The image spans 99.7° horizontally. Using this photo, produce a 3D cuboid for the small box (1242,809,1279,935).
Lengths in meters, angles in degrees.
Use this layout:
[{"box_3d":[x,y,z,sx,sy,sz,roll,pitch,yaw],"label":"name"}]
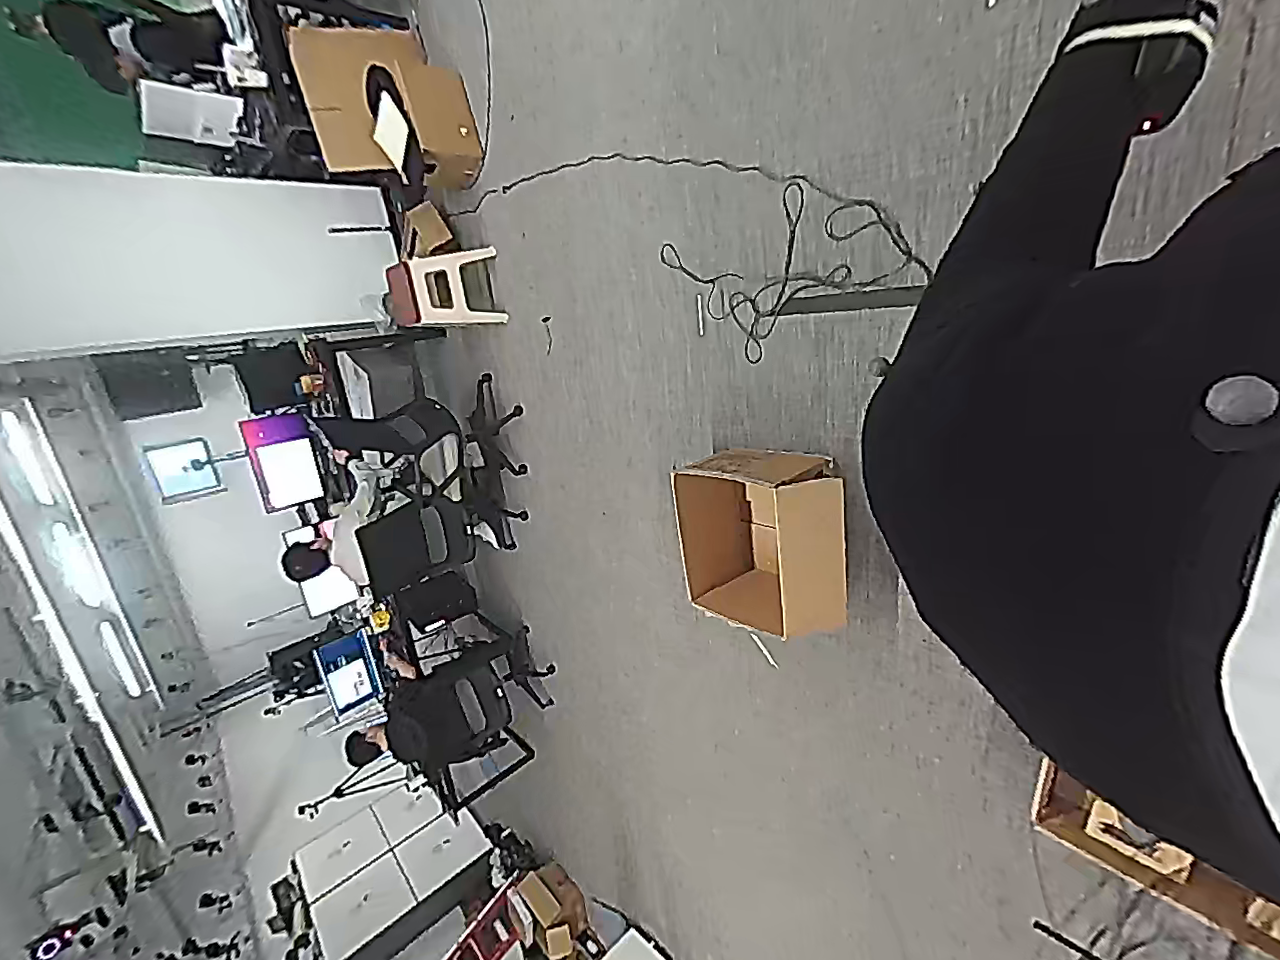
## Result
[{"box_3d":[1.312,0.785,1.036,0.179,0.176,0.168,19,118,46],"label":"small box"}]
